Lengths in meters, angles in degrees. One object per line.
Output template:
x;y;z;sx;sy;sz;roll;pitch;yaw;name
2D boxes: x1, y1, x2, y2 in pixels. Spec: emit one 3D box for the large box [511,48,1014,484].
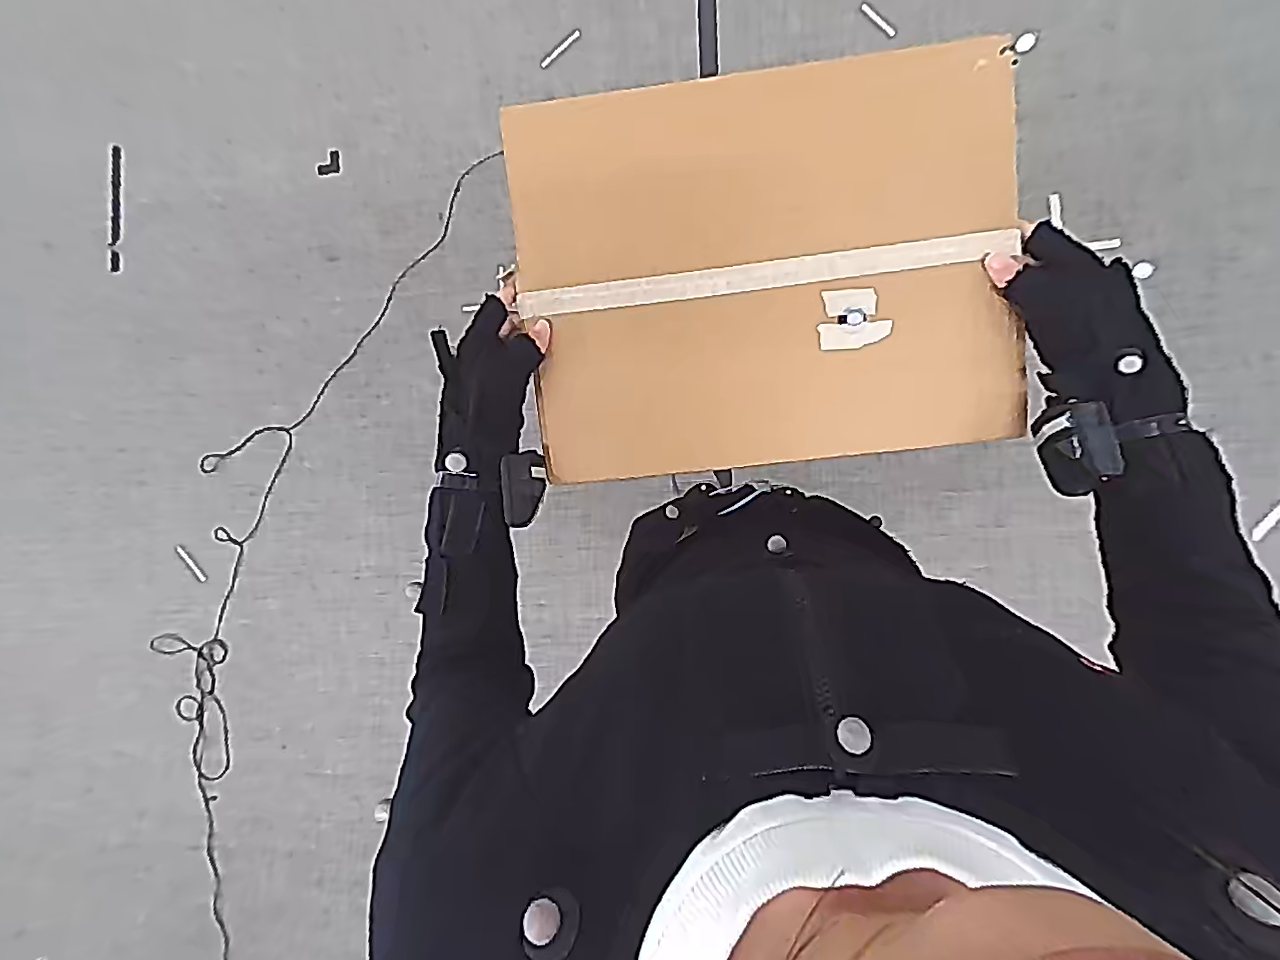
0.110;-0.187;0.606;0.408;0.320;0.320;-7;97;3;large box
